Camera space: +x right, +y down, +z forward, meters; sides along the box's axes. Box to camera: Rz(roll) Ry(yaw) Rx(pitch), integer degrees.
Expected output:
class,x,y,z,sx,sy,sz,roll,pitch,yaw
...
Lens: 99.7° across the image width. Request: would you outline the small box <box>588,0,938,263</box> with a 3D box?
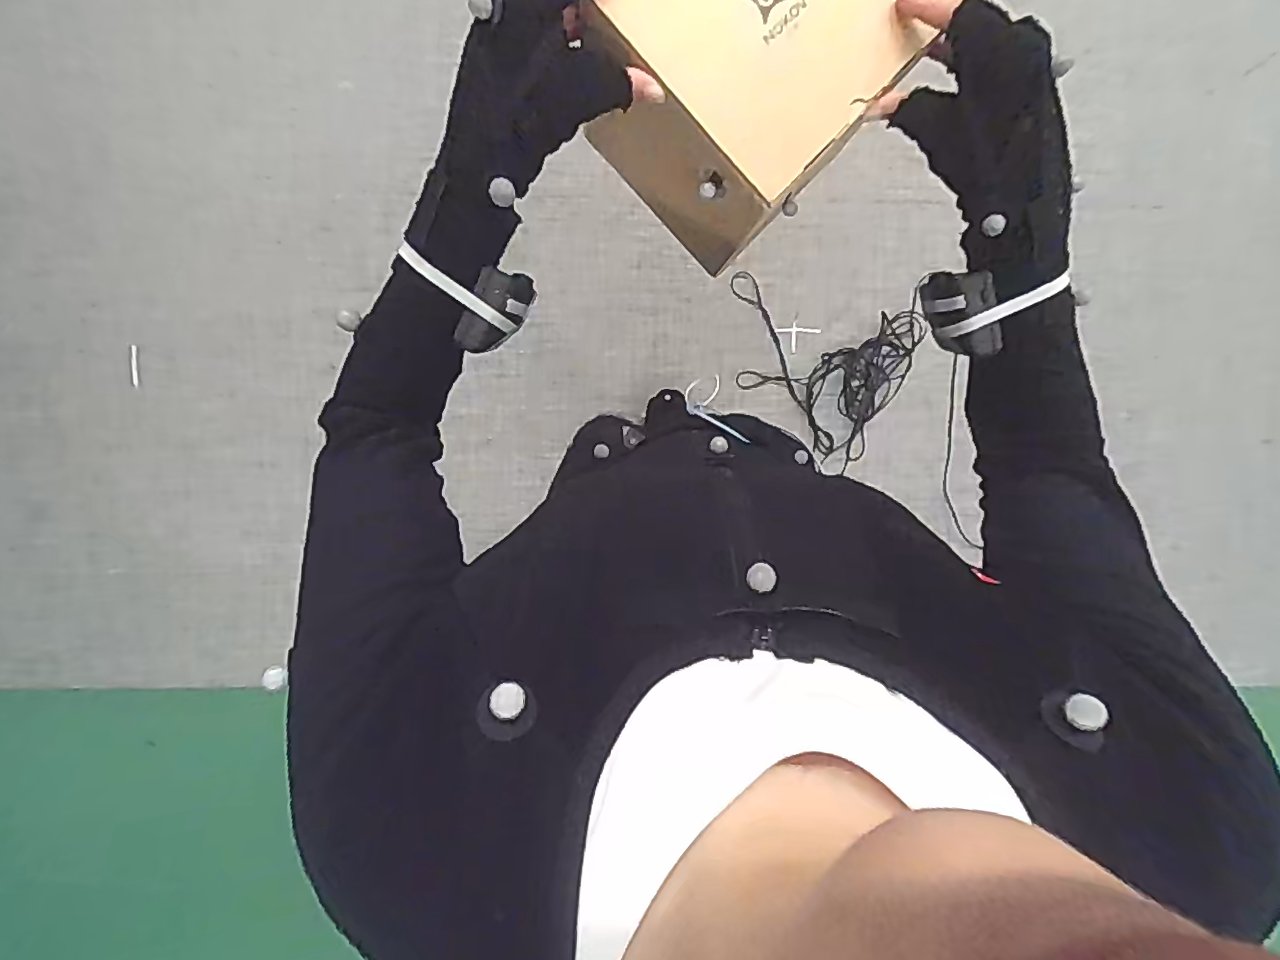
class,x,y,z,sx,sy,sz,roll,pitch,yaw
small box,0.072,-0.305,0.421,0.179,0.176,0.168,45,90,-8
